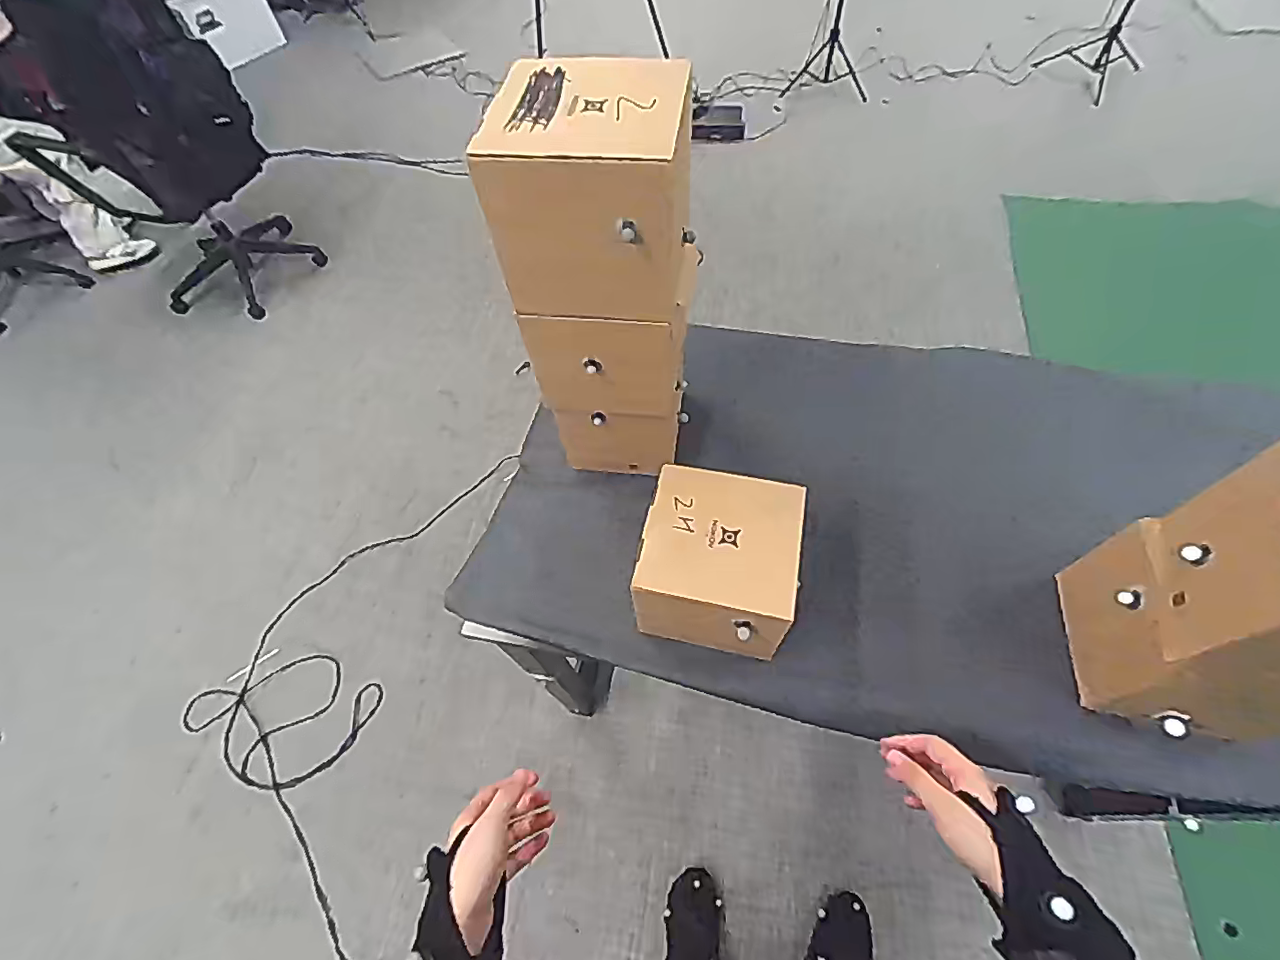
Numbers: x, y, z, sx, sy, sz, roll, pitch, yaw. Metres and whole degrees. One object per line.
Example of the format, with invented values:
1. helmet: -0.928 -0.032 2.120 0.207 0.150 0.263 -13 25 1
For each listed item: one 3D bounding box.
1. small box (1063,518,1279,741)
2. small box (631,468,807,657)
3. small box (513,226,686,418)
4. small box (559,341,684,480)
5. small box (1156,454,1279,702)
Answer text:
1. small box: 0.609 0.167 0.594 0.168 0.176 0.179 8 58 11
2. small box: 0.098 0.109 0.676 0.179 0.176 0.168 9 59 11
3. small box: -0.036 -0.194 0.686 0.179 0.176 0.168 4 60 8
4. small box: -0.023 -0.121 0.835 0.168 0.176 0.179 5 59 7
5. small box: 0.594 0.091 0.451 0.179 0.176 0.168 17 60 17
